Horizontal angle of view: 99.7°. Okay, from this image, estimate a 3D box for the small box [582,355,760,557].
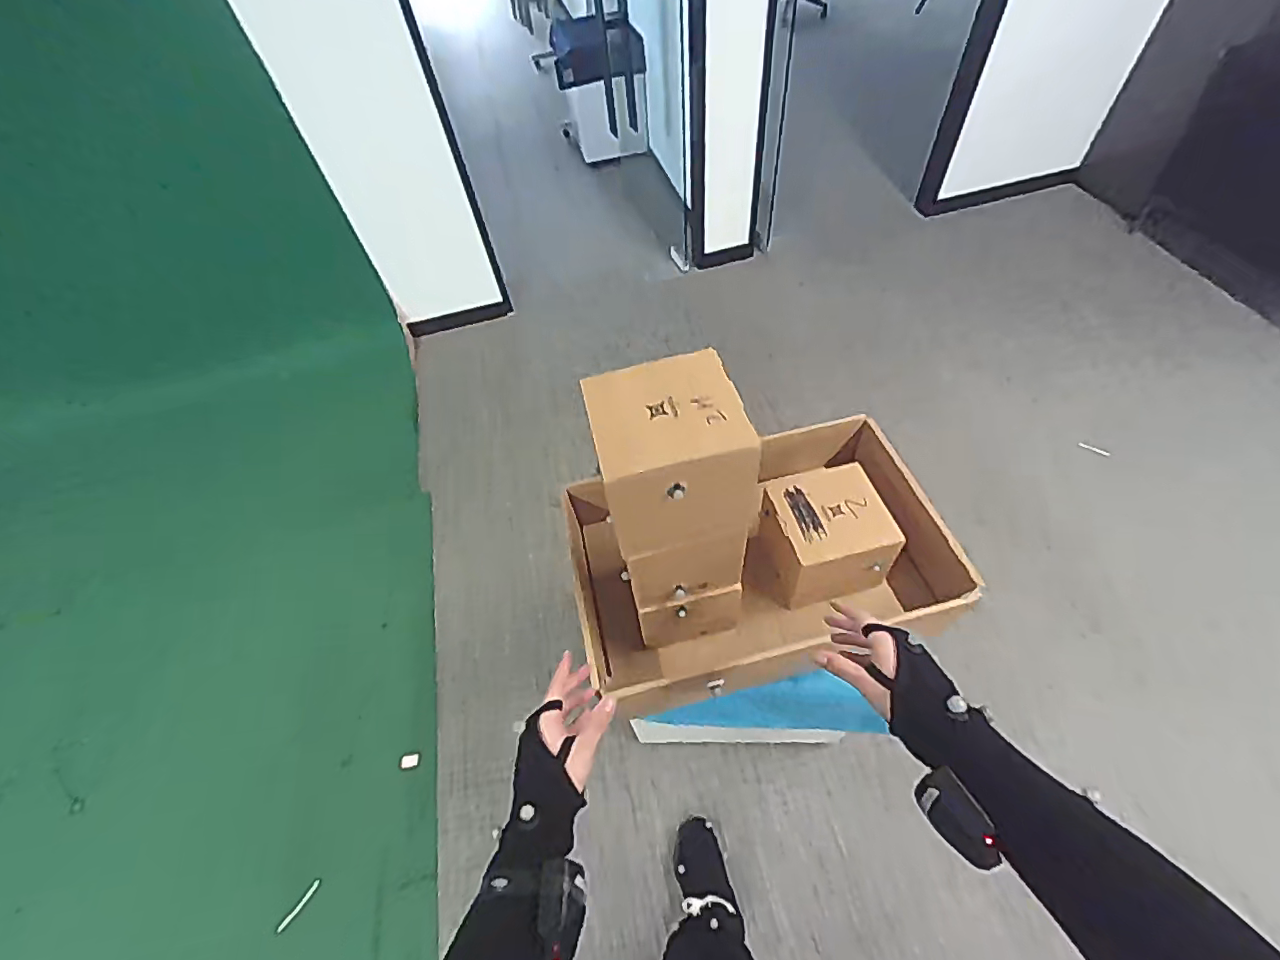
[{"bbox_3d":[0.038,-0.024,0.676,0.179,0.176,0.168,-13,53,-3],"label":"small box"}]

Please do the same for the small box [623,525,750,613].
[{"bbox_3d":[0.052,0.071,0.809,0.168,0.176,0.179,-13,53,-4],"label":"small box"}]

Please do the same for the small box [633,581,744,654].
[{"bbox_3d":[0.070,0.174,0.934,0.168,0.176,0.179,-14,52,-4],"label":"small box"}]
